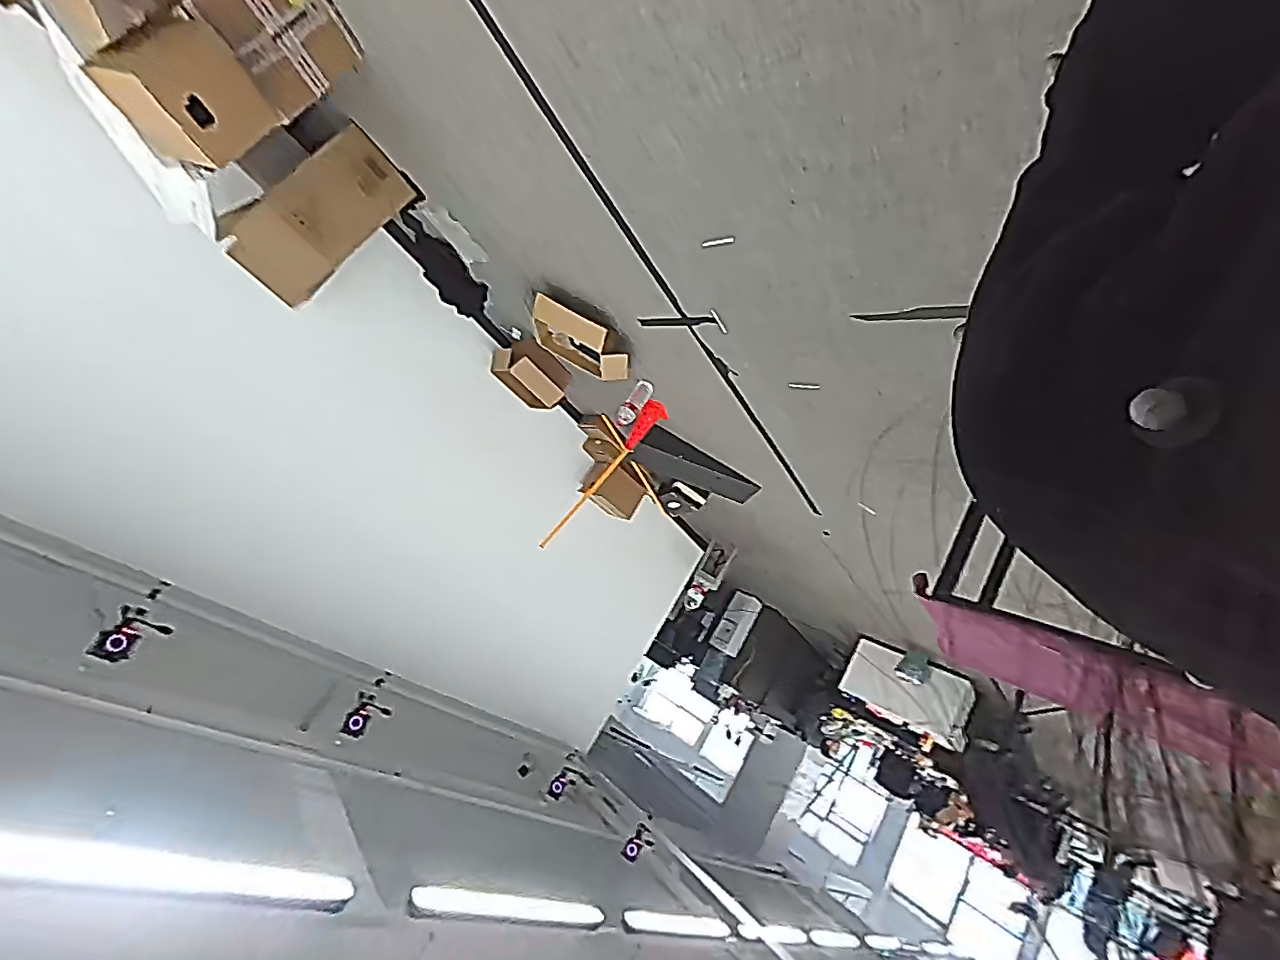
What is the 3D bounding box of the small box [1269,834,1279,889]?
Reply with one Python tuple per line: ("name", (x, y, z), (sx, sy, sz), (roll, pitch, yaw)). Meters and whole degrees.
("small box", (1.584, 0.886, 1.227), (0.179, 0.176, 0.168), (12, 156, 50))
